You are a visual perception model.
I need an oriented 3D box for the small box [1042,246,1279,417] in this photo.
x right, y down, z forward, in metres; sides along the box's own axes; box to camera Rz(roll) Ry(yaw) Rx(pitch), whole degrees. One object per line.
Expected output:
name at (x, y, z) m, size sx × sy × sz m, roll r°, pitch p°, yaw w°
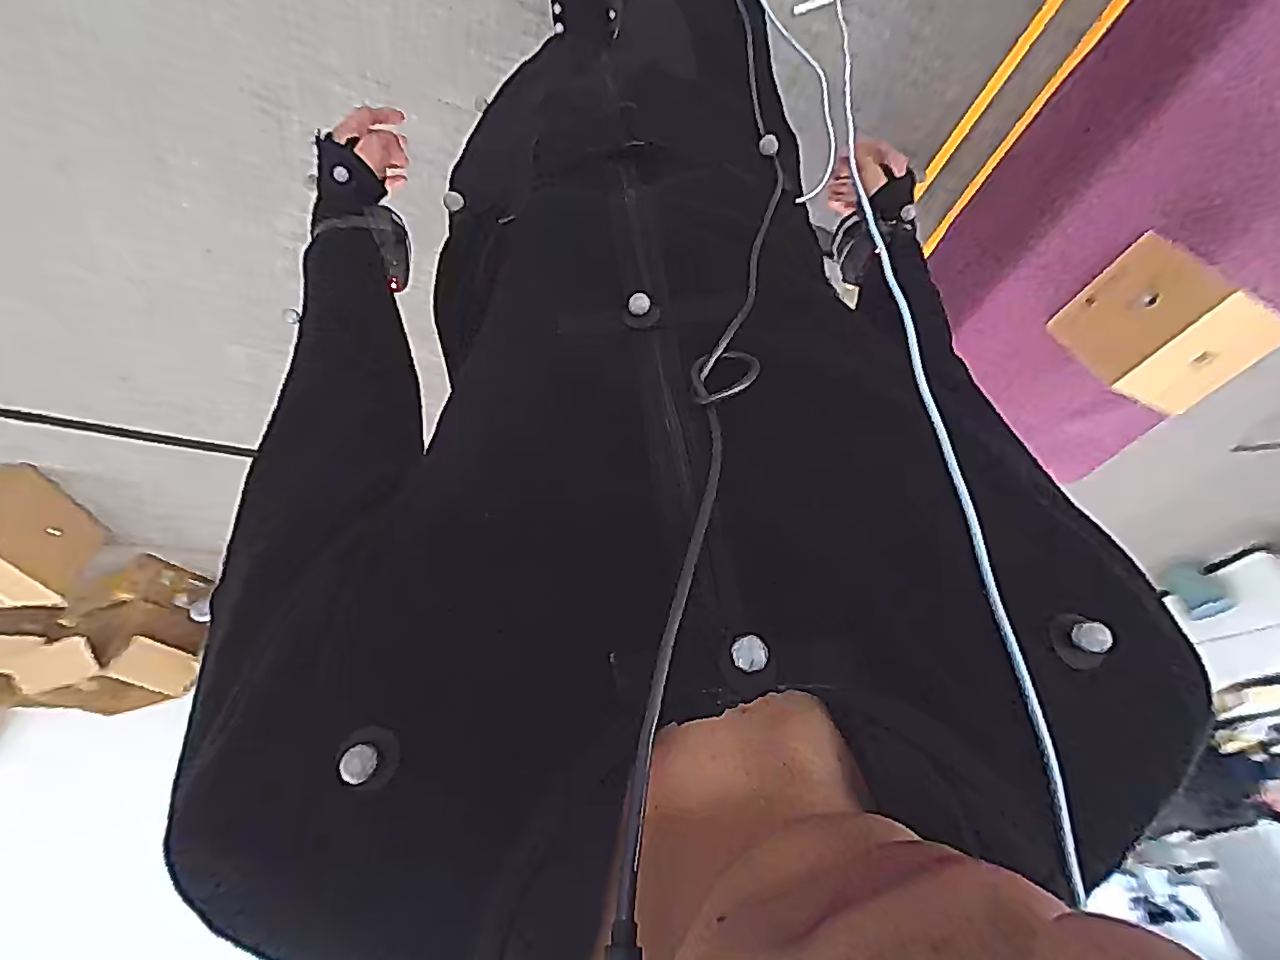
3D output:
small box at (0.773, -0.227, 0.822) m, size 0.179 × 0.176 × 0.168 m, roll 12°, pitch 135°, yaw -23°
